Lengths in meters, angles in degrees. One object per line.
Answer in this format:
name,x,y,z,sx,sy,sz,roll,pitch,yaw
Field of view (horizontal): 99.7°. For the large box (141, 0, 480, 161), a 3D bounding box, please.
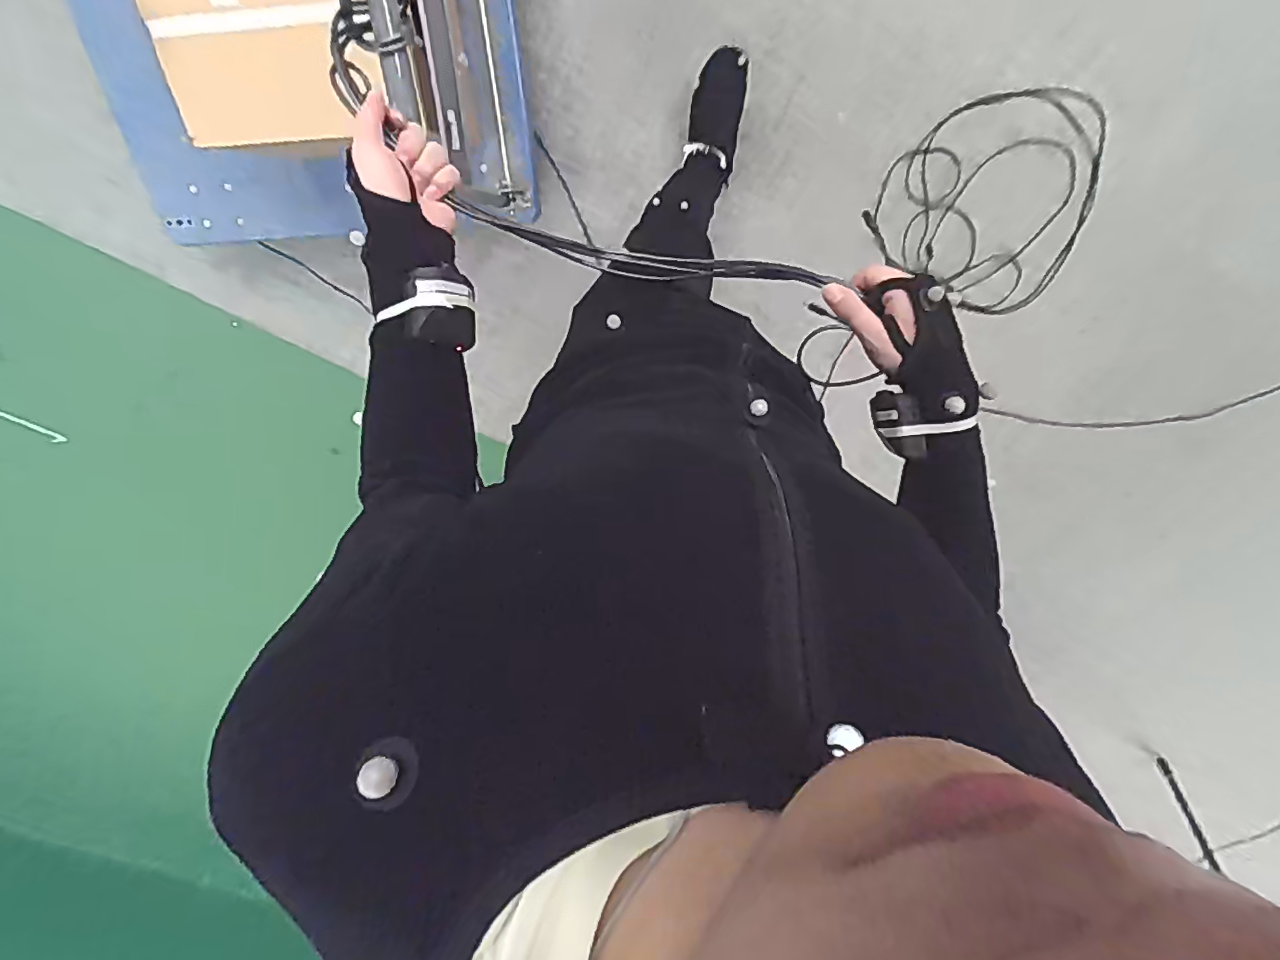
large box,-0.547,-0.765,0.957,0.408,0.320,0.320,-2,116,3
